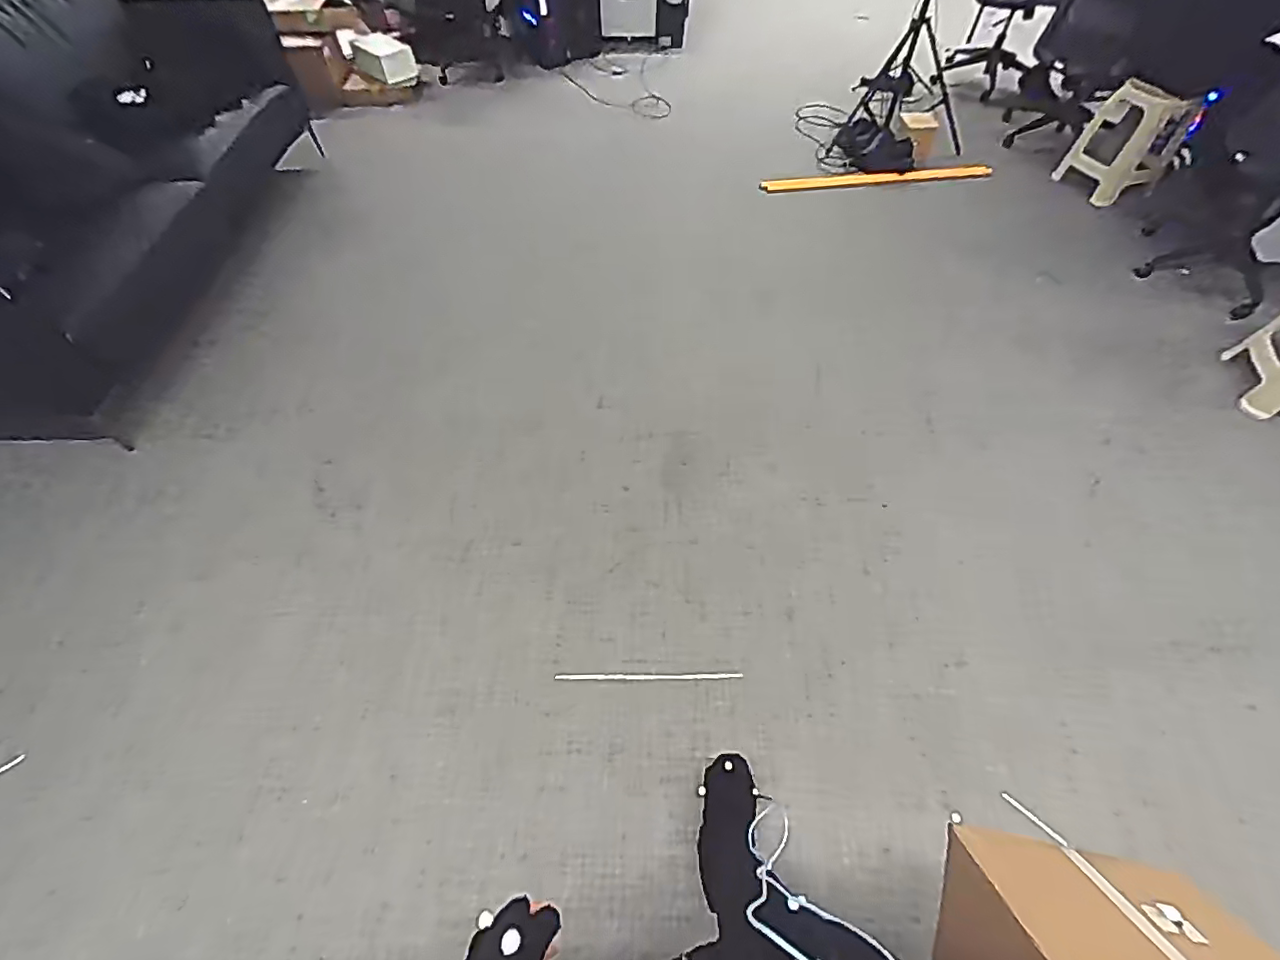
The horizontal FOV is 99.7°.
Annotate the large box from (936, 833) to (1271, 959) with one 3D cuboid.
[{"bbox_3d":[0.572,0.694,0.602,0.320,0.408,0.320,8,88,9],"label":"large box"}]
